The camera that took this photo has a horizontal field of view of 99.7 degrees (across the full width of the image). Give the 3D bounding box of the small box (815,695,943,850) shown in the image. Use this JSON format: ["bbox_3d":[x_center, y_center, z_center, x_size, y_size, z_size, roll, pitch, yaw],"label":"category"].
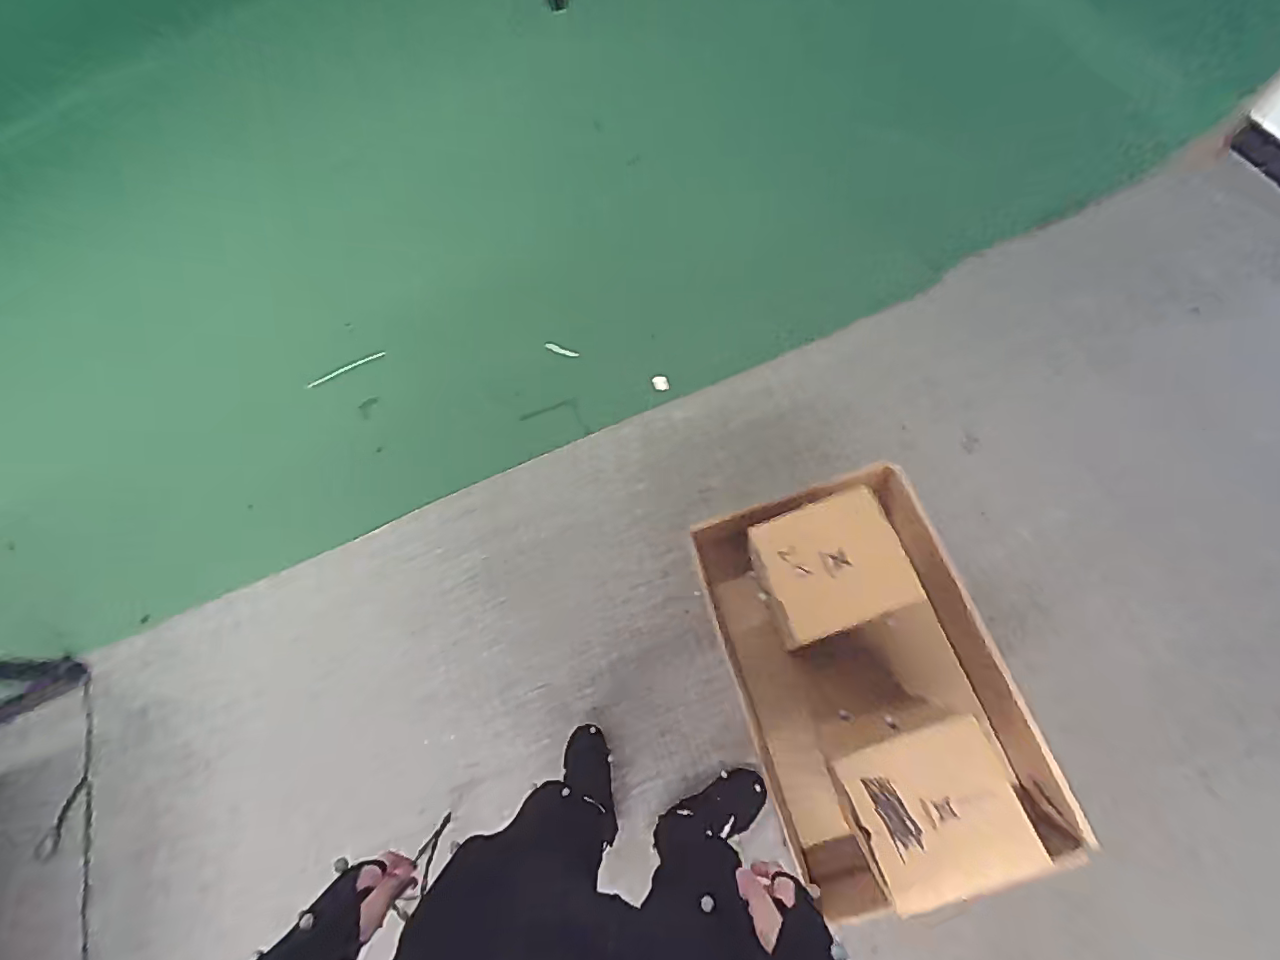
[{"bbox_3d":[0.388,0.441,0.841,0.179,0.176,0.168,-17,69,7],"label":"small box"}]

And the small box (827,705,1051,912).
[{"bbox_3d":[0.352,0.398,0.686,0.179,0.176,0.168,-21,69,4],"label":"small box"}]

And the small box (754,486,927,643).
[{"bbox_3d":[0.276,0.132,0.793,0.179,0.176,0.168,-20,68,4],"label":"small box"}]
